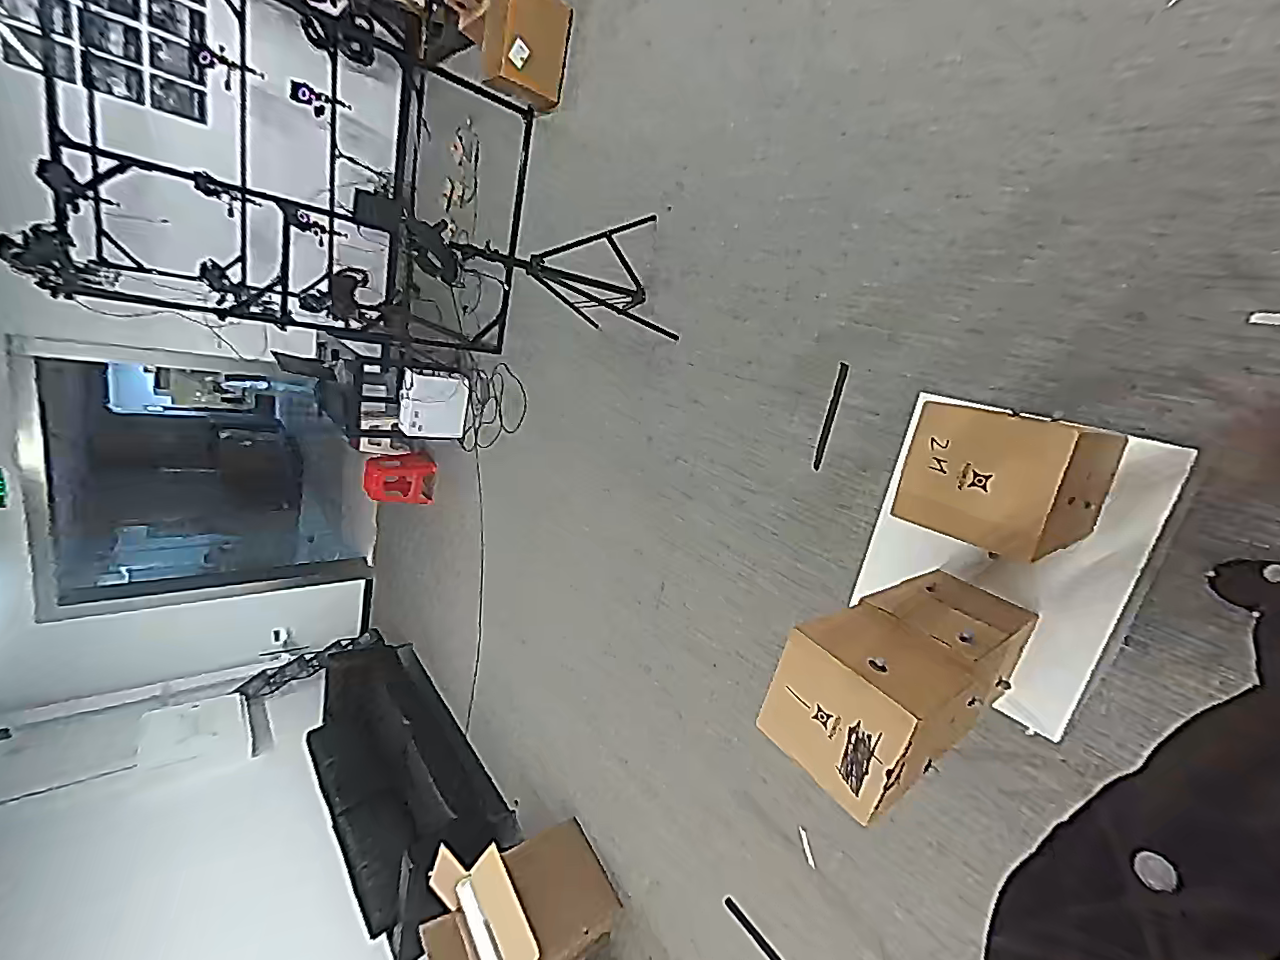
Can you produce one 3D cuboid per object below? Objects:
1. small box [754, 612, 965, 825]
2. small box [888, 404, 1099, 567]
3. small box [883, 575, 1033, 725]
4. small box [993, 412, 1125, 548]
[{"bbox_3d":[0.290,0.296,0.717,0.179,0.176,0.168,34,116,44],"label":"small box"},{"bbox_3d":[0.478,-0.003,0.733,0.179,0.176,0.168,26,112,46],"label":"small box"},{"bbox_3d":[0.537,0.278,0.934,0.179,0.176,0.168,29,113,45],"label":"small box"},{"bbox_3d":[0.604,-0.009,0.841,0.179,0.176,0.168,25,112,46],"label":"small box"}]
